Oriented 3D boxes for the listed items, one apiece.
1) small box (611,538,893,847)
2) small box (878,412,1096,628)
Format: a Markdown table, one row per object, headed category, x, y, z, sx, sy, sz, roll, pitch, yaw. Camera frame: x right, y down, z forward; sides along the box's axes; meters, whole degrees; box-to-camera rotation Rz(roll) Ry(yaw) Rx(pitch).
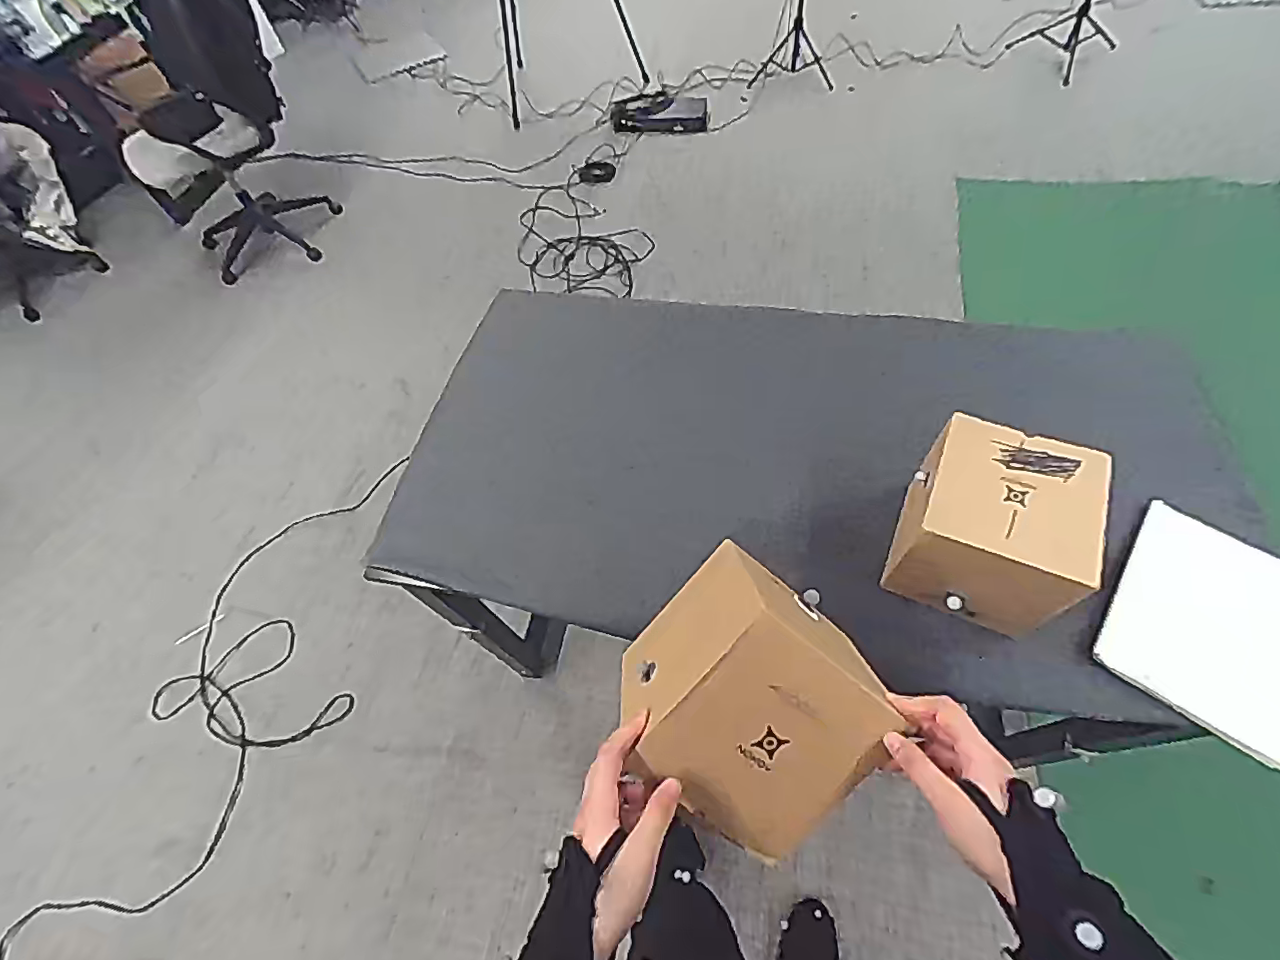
| category | x | y | z | sx | sy | sz | roll | pitch | yaw |
| --- | --- | --- | --- | --- | --- | --- | --- | --- | --- |
| small box | 0.091 | 0.186 | 0.518 | 0.168 | 0.176 | 0.179 | 37 | 99 | -9 |
| small box | 0.411 | 0.052 | 0.662 | 0.168 | 0.176 | 0.179 | 20 | 63 | 19 |
